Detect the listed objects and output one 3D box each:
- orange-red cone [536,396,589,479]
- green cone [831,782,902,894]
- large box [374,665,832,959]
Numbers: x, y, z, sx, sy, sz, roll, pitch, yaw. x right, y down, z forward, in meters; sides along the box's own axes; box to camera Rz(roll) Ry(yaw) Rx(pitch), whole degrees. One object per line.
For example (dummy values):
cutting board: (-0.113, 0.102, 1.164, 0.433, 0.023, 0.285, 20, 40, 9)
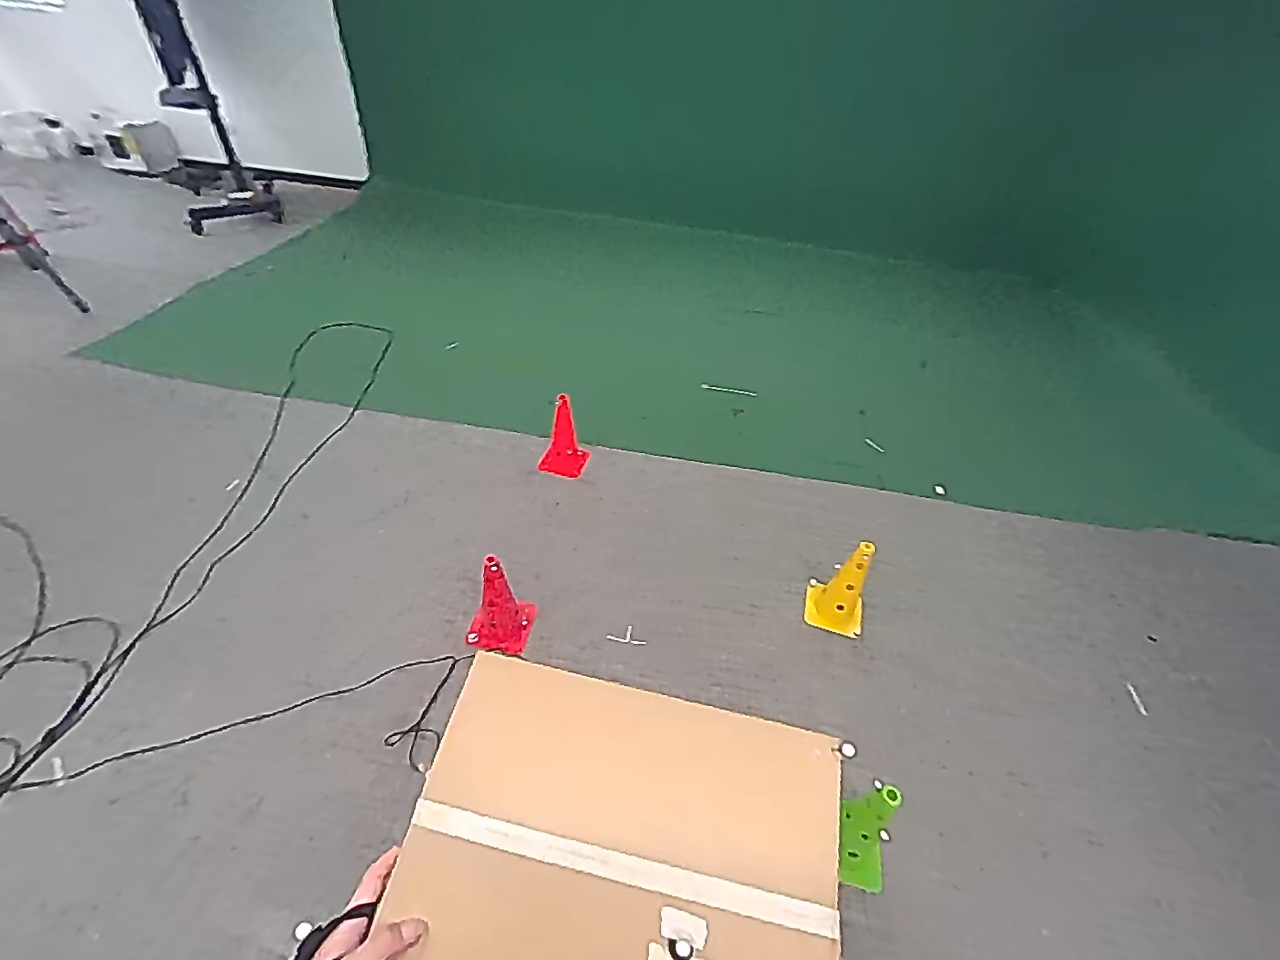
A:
orange-red cone: (-0.343, -0.206, 2.363, 0.199, 0.360, 0.198, 13, 42, 10)
green cone: (0.562, 0.843, 1.340, 0.200, 0.368, 0.202, 13, 42, 7)
large box: (-0.026, 0.447, 0.635, 0.408, 0.320, 0.320, 11, 58, 4)
